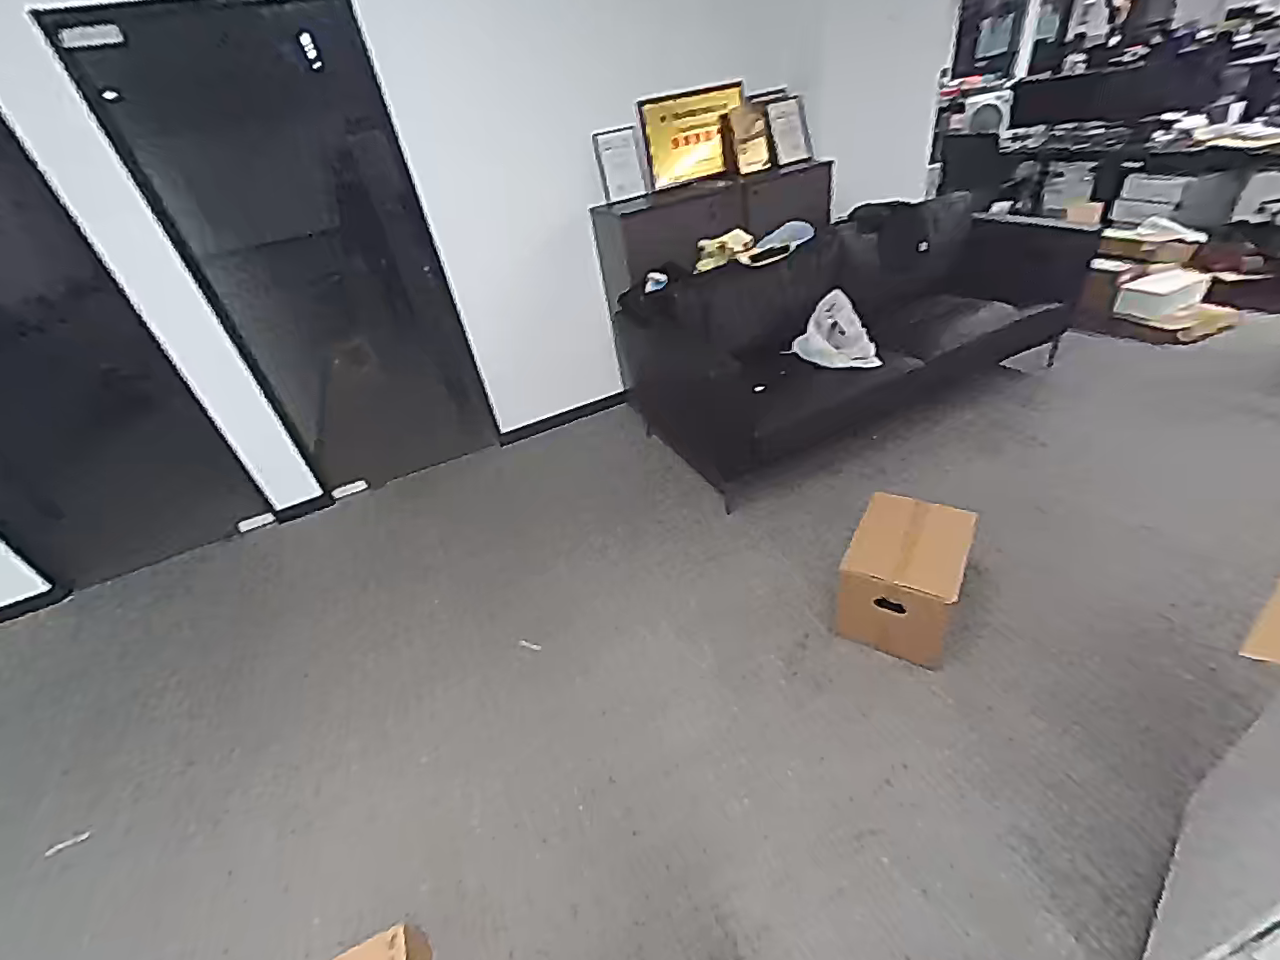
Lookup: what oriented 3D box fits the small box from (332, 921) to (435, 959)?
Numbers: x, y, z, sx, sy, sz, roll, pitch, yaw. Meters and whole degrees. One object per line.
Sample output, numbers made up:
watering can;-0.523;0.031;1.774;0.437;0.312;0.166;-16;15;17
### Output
small box;-0.543;1.087;1.130;0.179;0.176;0.168;-21;36;-15
